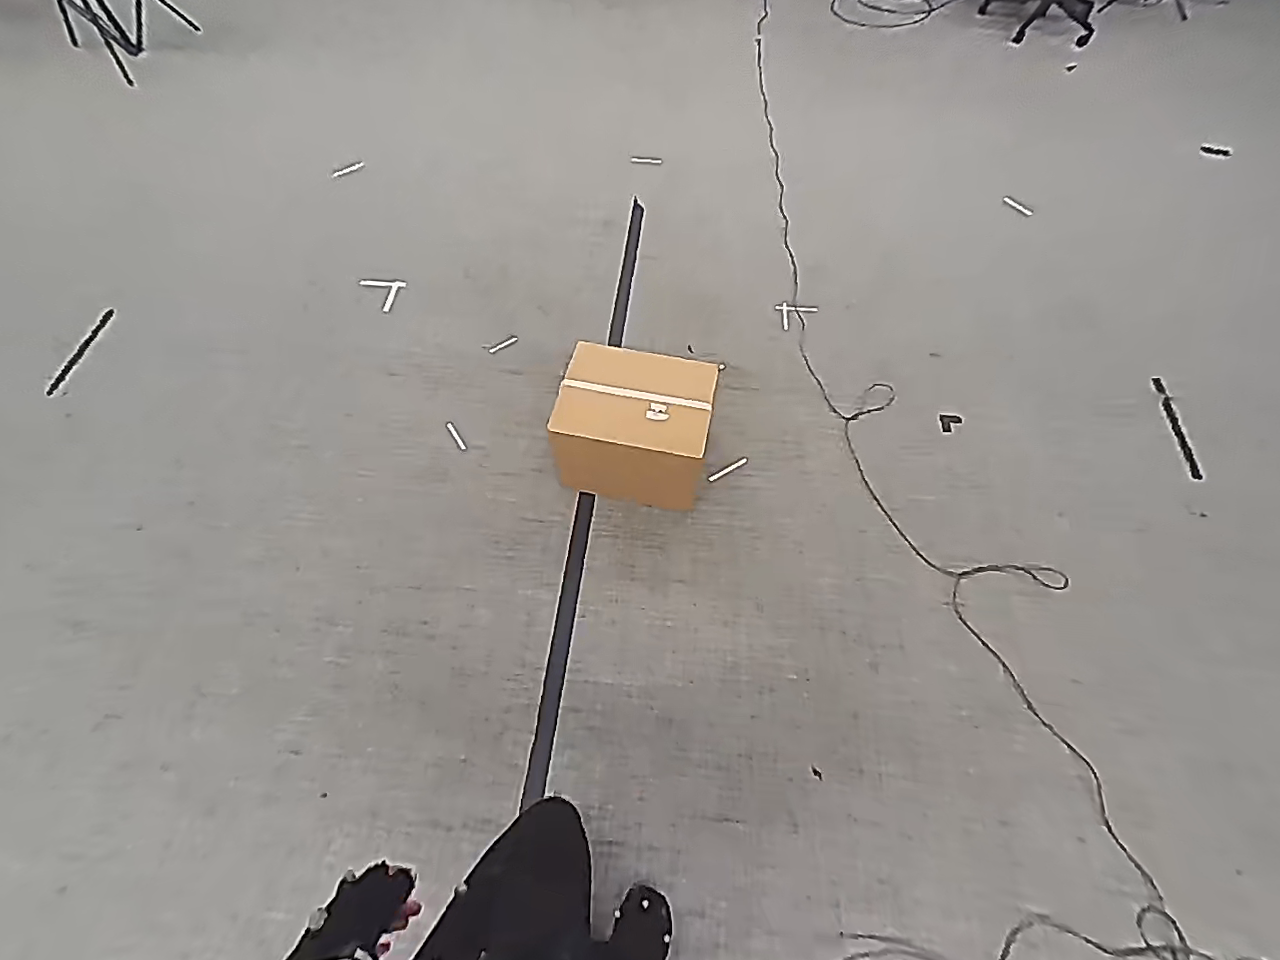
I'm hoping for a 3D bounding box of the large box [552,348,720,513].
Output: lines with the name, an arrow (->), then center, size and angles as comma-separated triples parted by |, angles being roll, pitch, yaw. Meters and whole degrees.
large box -> -0.007, -0.136, 1.563 | 0.408, 0.320, 0.320 | 11, 61, 6
